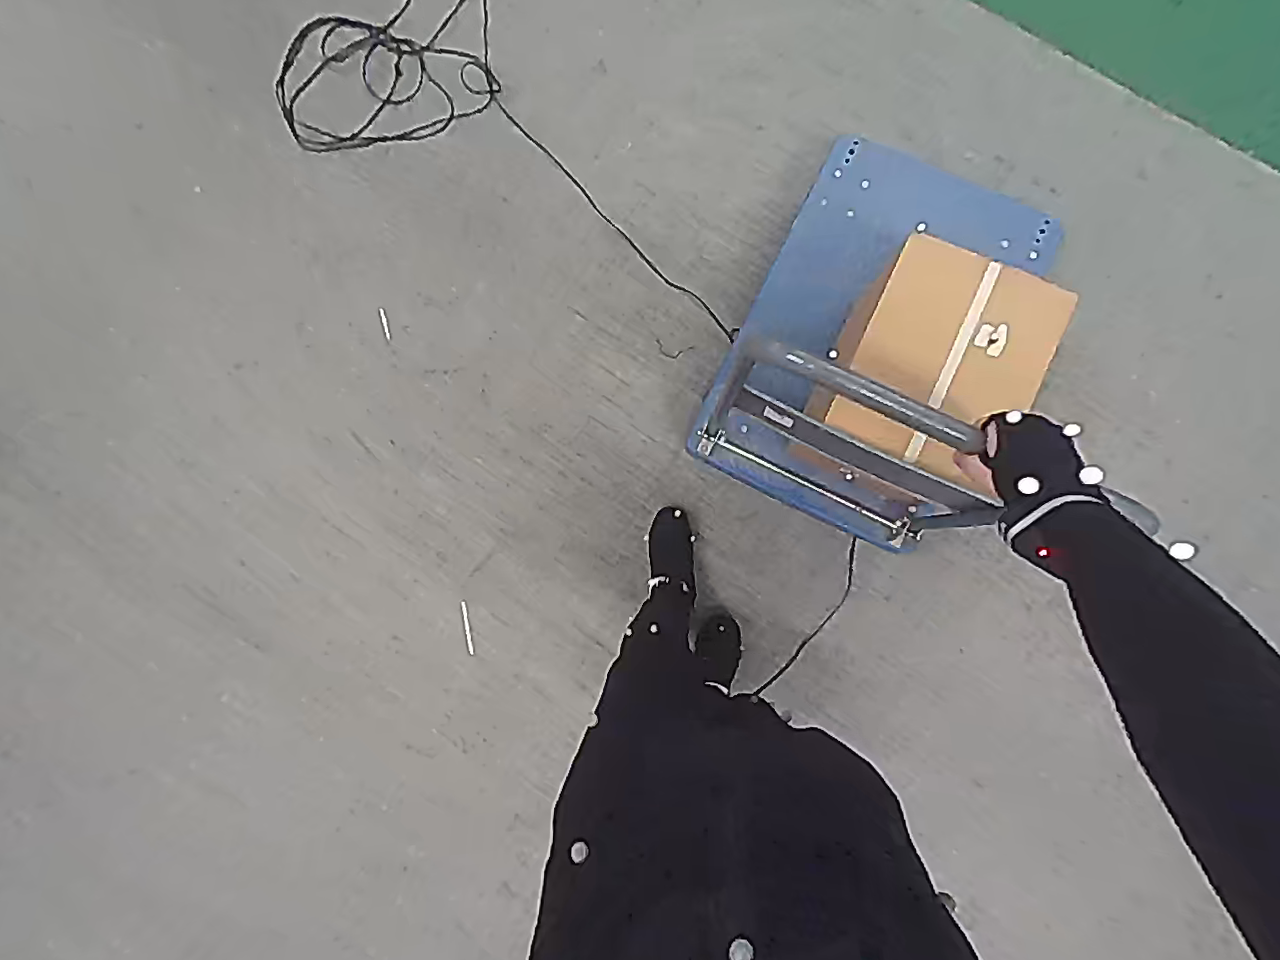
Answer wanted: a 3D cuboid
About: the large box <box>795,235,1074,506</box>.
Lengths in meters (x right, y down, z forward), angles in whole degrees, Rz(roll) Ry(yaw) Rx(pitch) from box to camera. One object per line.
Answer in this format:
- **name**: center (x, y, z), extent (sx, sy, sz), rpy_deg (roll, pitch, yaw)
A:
- **large box**: center (0.562, -0.192, 1.107), extent (0.320, 0.320, 0.408), rpy_deg (25, 86, 5)
